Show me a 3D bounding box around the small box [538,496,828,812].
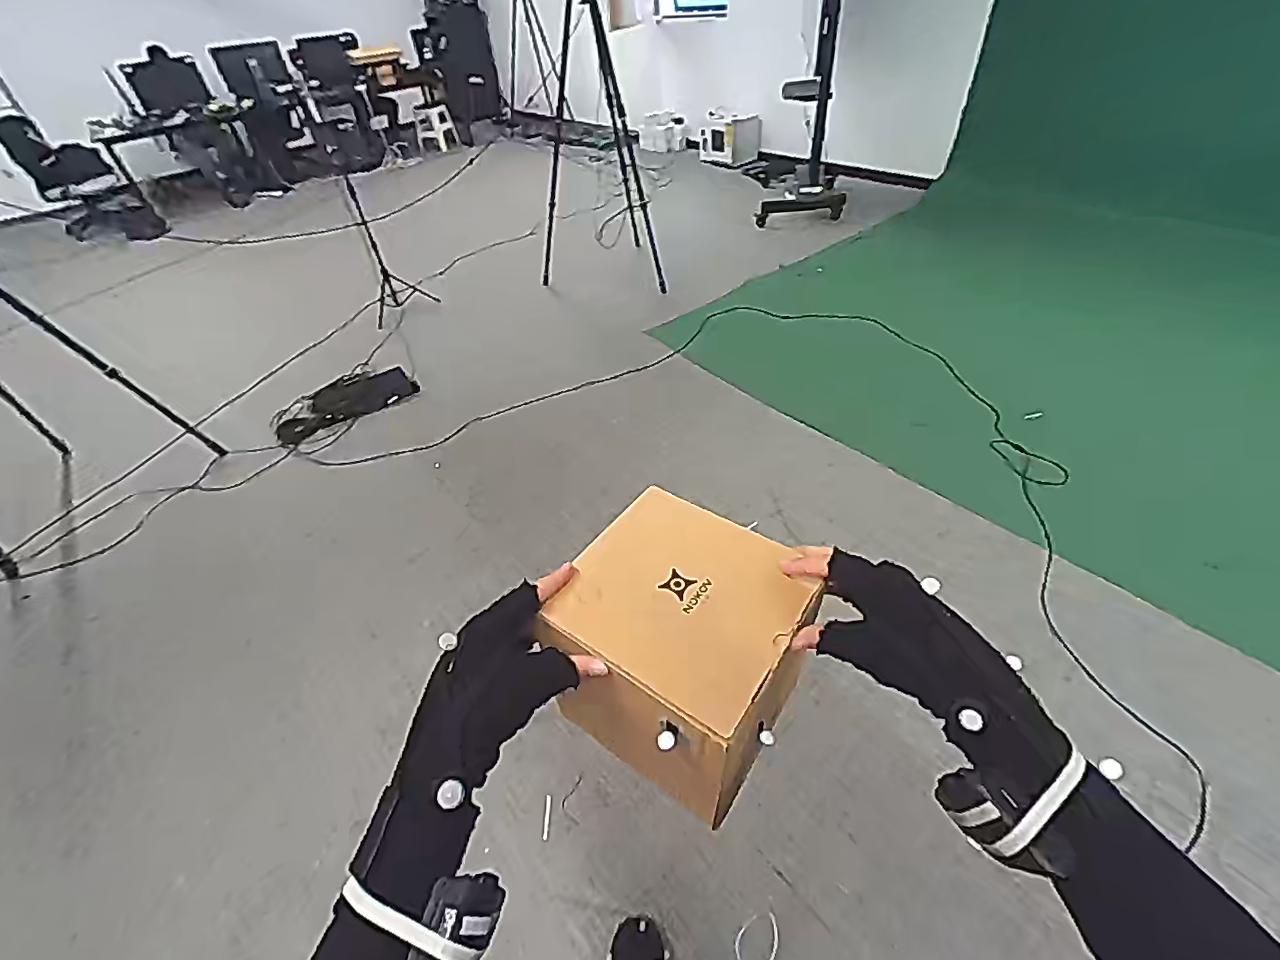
[{"bbox_3d":[0.036,0.150,0.479,0.179,0.176,0.168,26,48,27],"label":"small box"}]
